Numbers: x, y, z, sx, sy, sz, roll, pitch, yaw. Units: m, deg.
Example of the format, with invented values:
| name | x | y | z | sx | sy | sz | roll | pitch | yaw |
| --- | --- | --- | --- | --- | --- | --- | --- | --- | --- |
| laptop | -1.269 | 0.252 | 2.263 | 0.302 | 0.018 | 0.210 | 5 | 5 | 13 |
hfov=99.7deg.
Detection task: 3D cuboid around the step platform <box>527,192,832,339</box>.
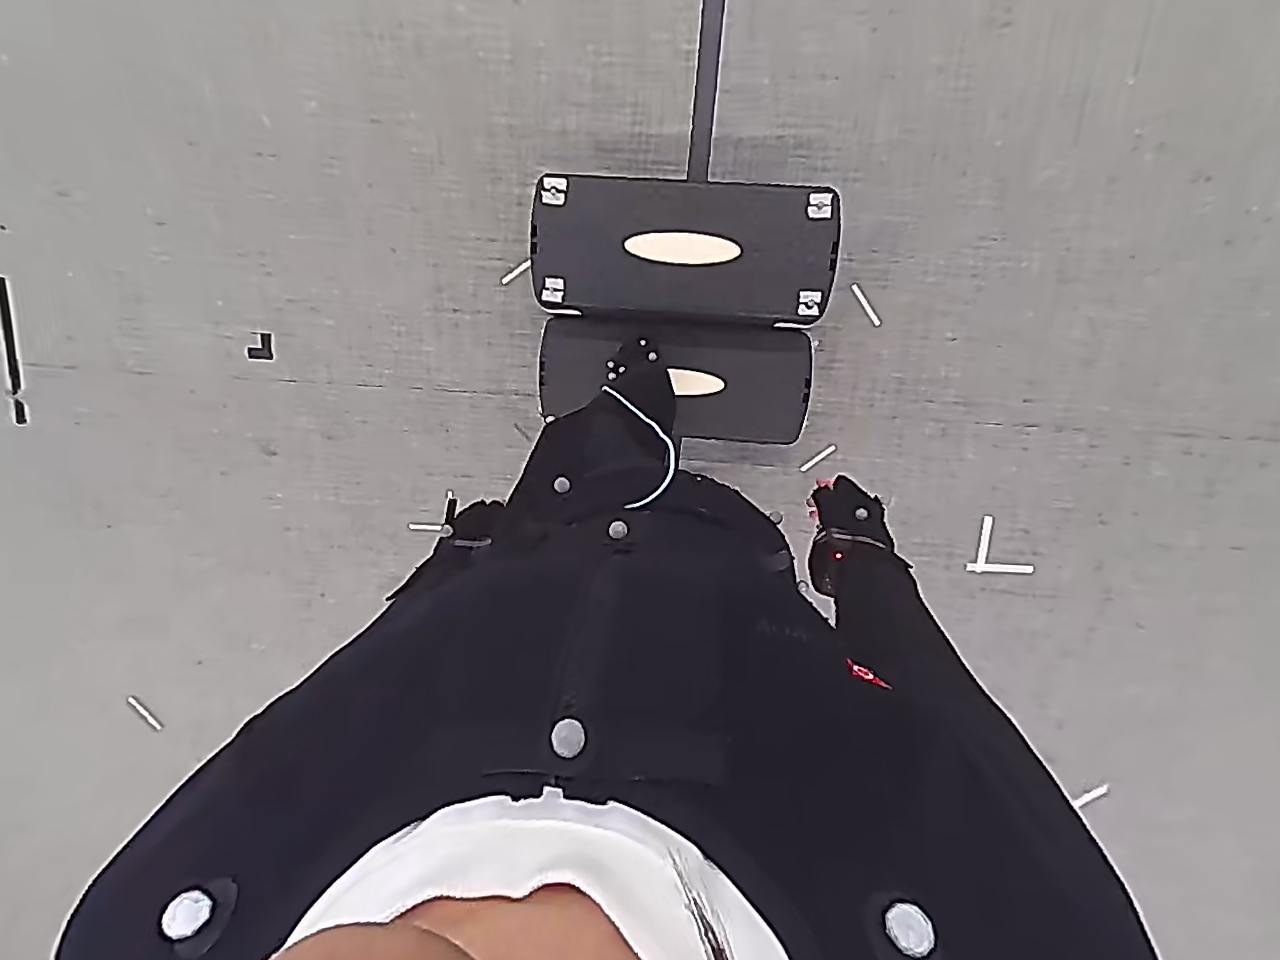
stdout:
| name | x | y | z | sx | sy | sz | roll | pitch | yaw |
| --- | --- | --- | --- | --- | --- | --- | --- | --- | --- |
| step platform | 0.084 | -0.490 | 1.261 | 0.684 | 0.204 | 0.286 | 3 | 103 | 2 |
